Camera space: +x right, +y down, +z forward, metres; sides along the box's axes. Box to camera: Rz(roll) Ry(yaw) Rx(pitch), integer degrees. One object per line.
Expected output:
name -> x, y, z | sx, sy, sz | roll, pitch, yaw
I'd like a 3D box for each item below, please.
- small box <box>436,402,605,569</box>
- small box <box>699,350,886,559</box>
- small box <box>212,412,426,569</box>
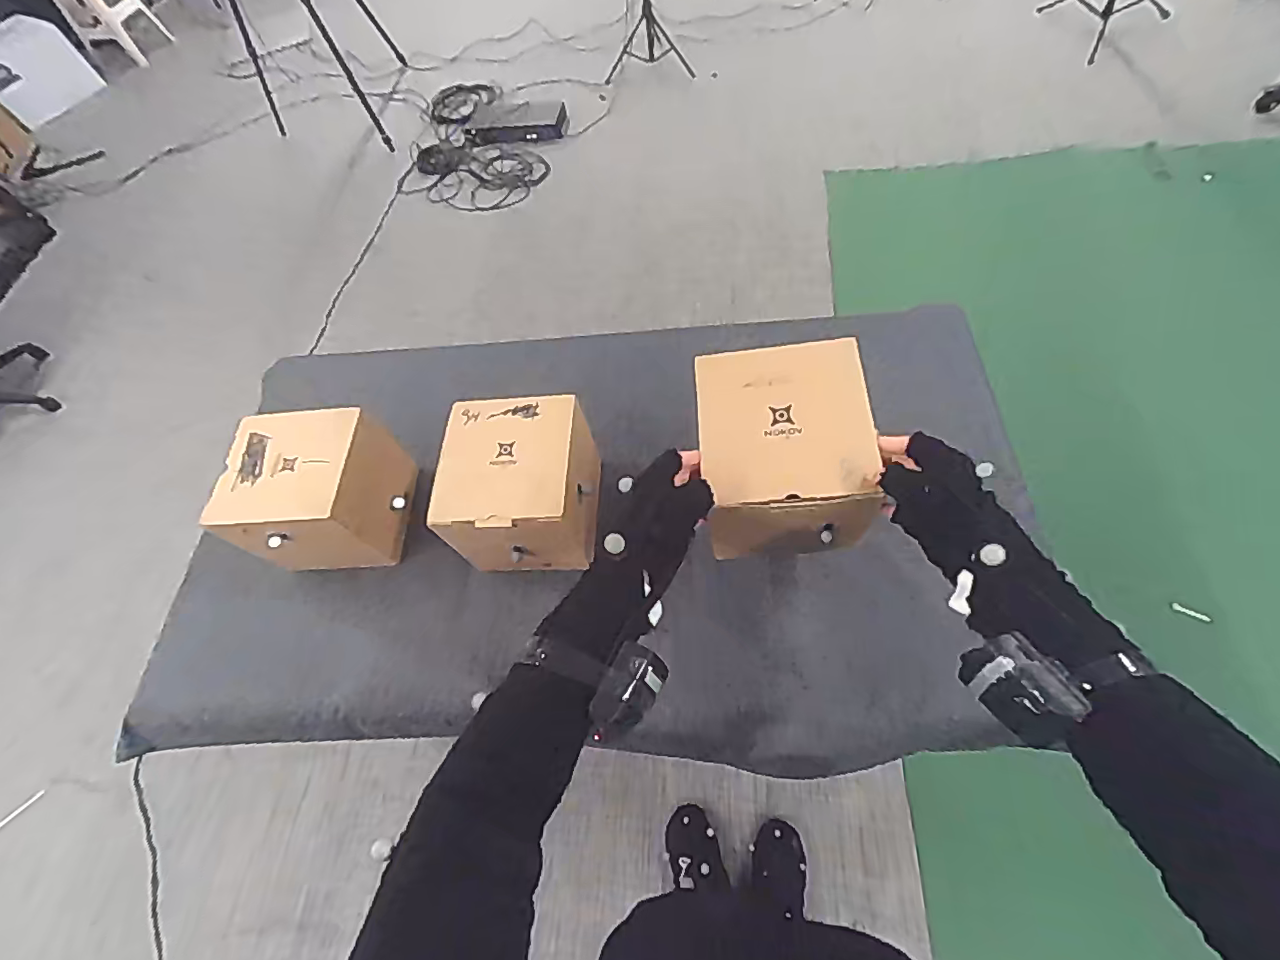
small box -> -0.146, 0.016, 0.729 | 0.168, 0.176, 0.179 | -2, 62, 8
small box -> 0.158, -0.016, 0.604 | 0.168, 0.176, 0.179 | -5, 64, 9
small box -> -0.436, 0.023, 0.768 | 0.179, 0.176, 0.168 | -3, 61, 6
